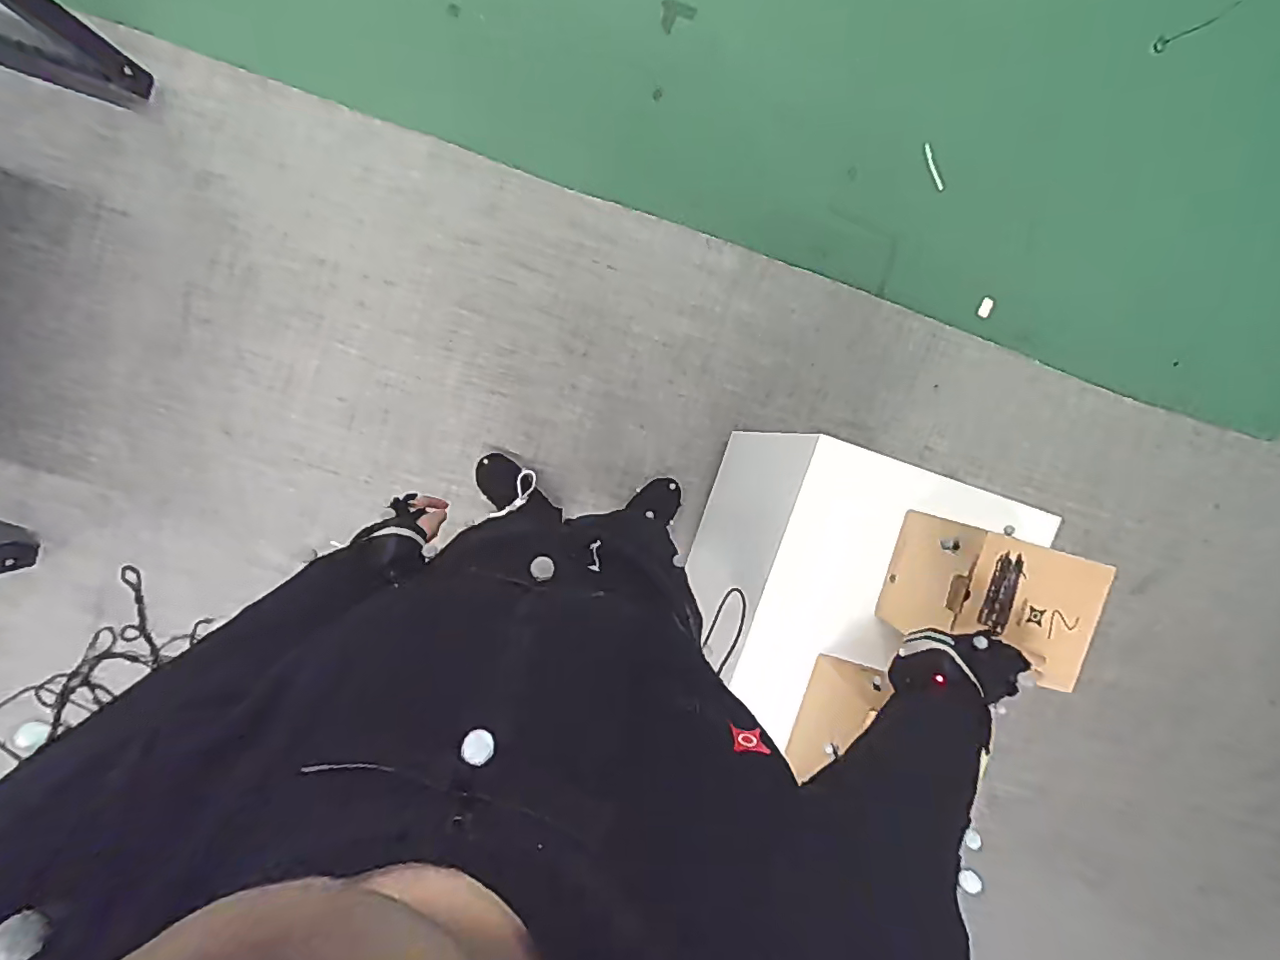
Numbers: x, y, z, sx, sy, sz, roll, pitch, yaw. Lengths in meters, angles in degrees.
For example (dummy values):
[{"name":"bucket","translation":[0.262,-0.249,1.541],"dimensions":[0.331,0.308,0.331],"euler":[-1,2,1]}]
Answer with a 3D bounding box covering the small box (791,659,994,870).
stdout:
[{"name":"small box","translation":[0.326,0.371,0.737],"dimensions":[0.168,0.176,0.179],"euler":[17,94,-4]}]
